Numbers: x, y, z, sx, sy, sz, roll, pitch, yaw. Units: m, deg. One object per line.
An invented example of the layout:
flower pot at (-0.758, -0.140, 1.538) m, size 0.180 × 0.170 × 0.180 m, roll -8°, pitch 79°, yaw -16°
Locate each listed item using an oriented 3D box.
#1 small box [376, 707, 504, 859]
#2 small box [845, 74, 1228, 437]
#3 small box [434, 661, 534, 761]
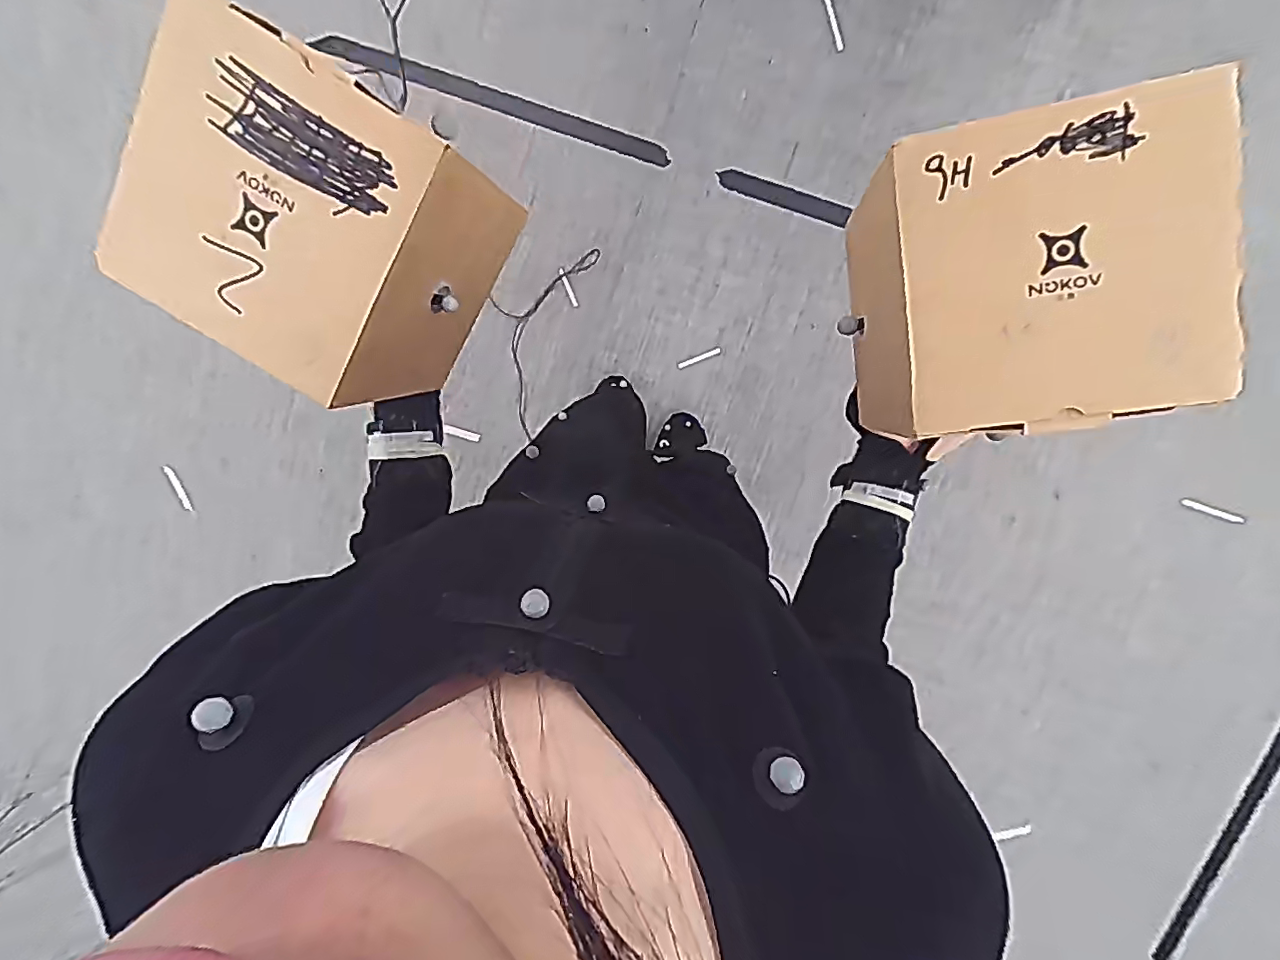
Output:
small box at (-0.373, 0.568, 1.038) m, size 0.168 × 0.176 × 0.179 m, roll 12°, pitch 98°, yaw 4°
small box at (0.251, -0.132, 0.387) m, size 0.168 × 0.176 × 0.179 m, roll -6°, pitch 97°, yaw 12°
small box at (-0.359, 0.534, 1.197) m, size 0.179 × 0.176 × 0.168 m, roll 27°, pitch 98°, yaw 2°
